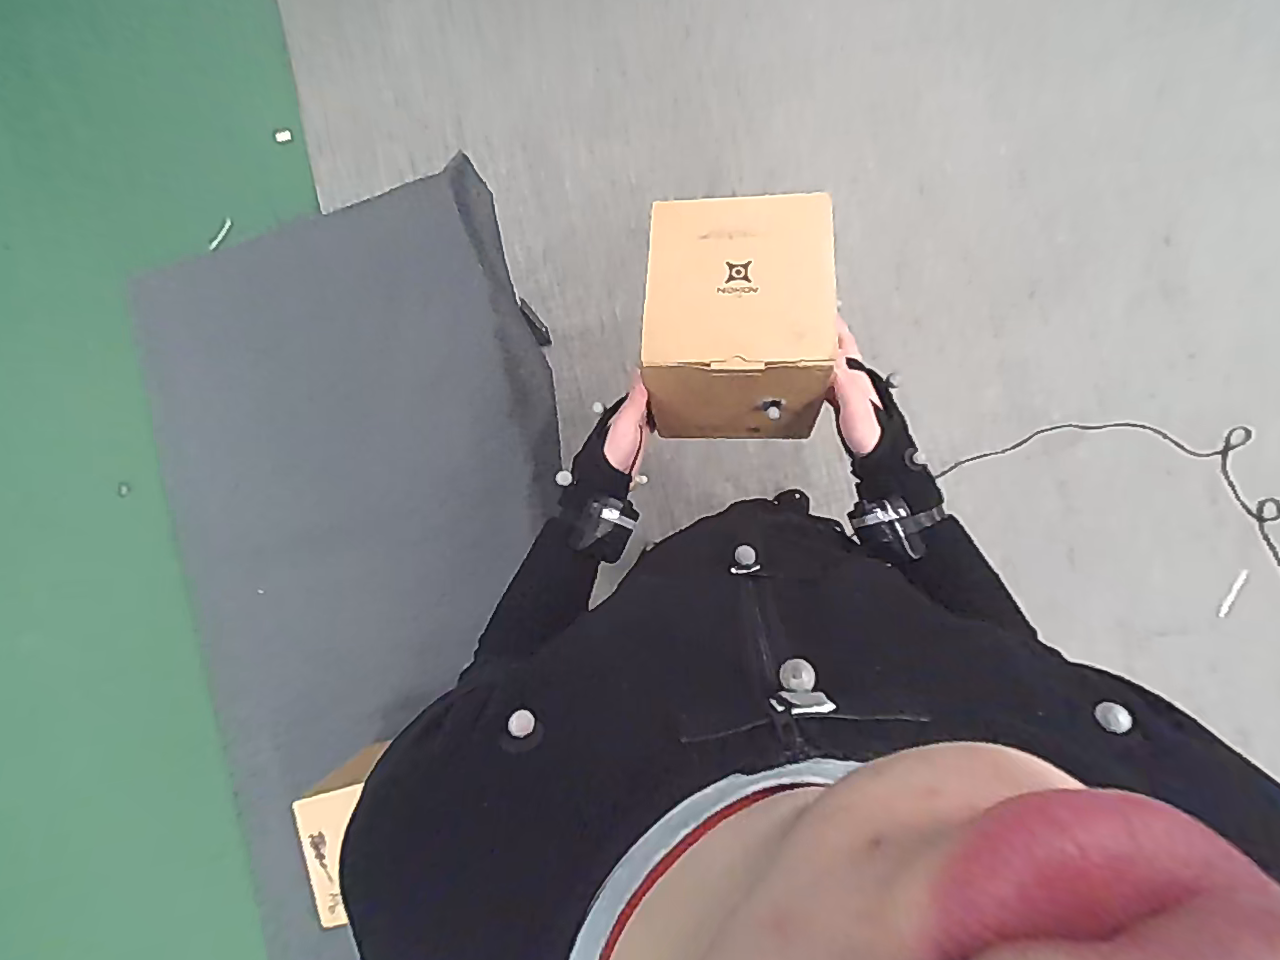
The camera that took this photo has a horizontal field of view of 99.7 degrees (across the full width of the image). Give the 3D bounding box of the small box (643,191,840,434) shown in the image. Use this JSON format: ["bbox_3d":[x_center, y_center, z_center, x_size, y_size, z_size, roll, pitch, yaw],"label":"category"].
[{"bbox_3d":[0.098,-0.155,0.548,0.168,0.176,0.179,1,71,7],"label":"small box"}]

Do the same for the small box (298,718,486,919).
[{"bbox_3d":[-0.338,0.469,0.779,0.179,0.176,0.168,-17,85,3],"label":"small box"}]
